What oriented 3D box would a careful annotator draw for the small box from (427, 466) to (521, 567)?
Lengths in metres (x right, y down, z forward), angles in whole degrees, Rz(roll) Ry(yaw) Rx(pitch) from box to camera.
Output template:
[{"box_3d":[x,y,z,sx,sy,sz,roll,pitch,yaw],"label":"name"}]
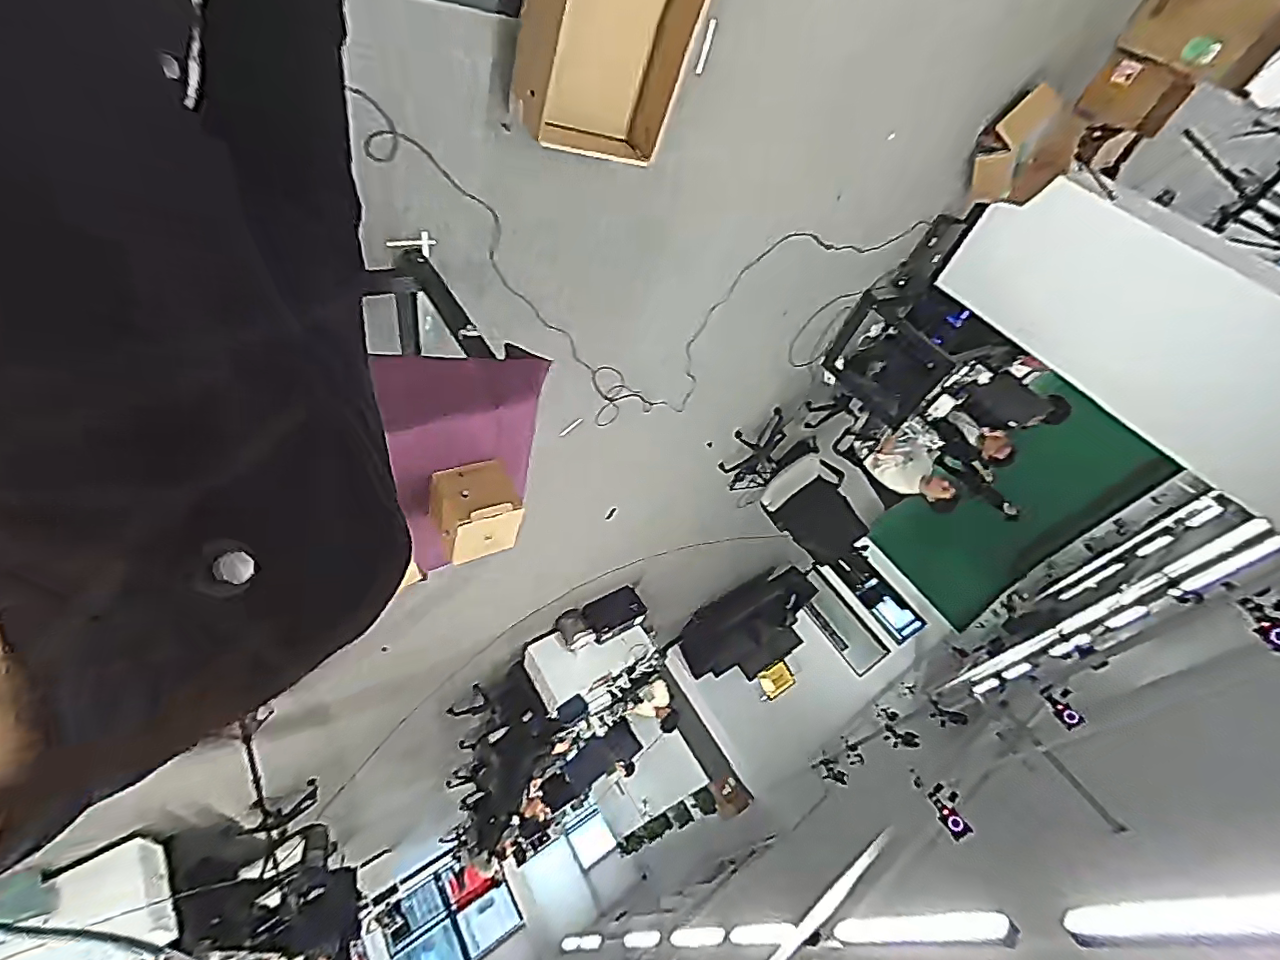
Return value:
[{"box_3d":[-0.419,0.083,1.352,0.168,0.176,0.179,-16,147,-36],"label":"small box"}]
